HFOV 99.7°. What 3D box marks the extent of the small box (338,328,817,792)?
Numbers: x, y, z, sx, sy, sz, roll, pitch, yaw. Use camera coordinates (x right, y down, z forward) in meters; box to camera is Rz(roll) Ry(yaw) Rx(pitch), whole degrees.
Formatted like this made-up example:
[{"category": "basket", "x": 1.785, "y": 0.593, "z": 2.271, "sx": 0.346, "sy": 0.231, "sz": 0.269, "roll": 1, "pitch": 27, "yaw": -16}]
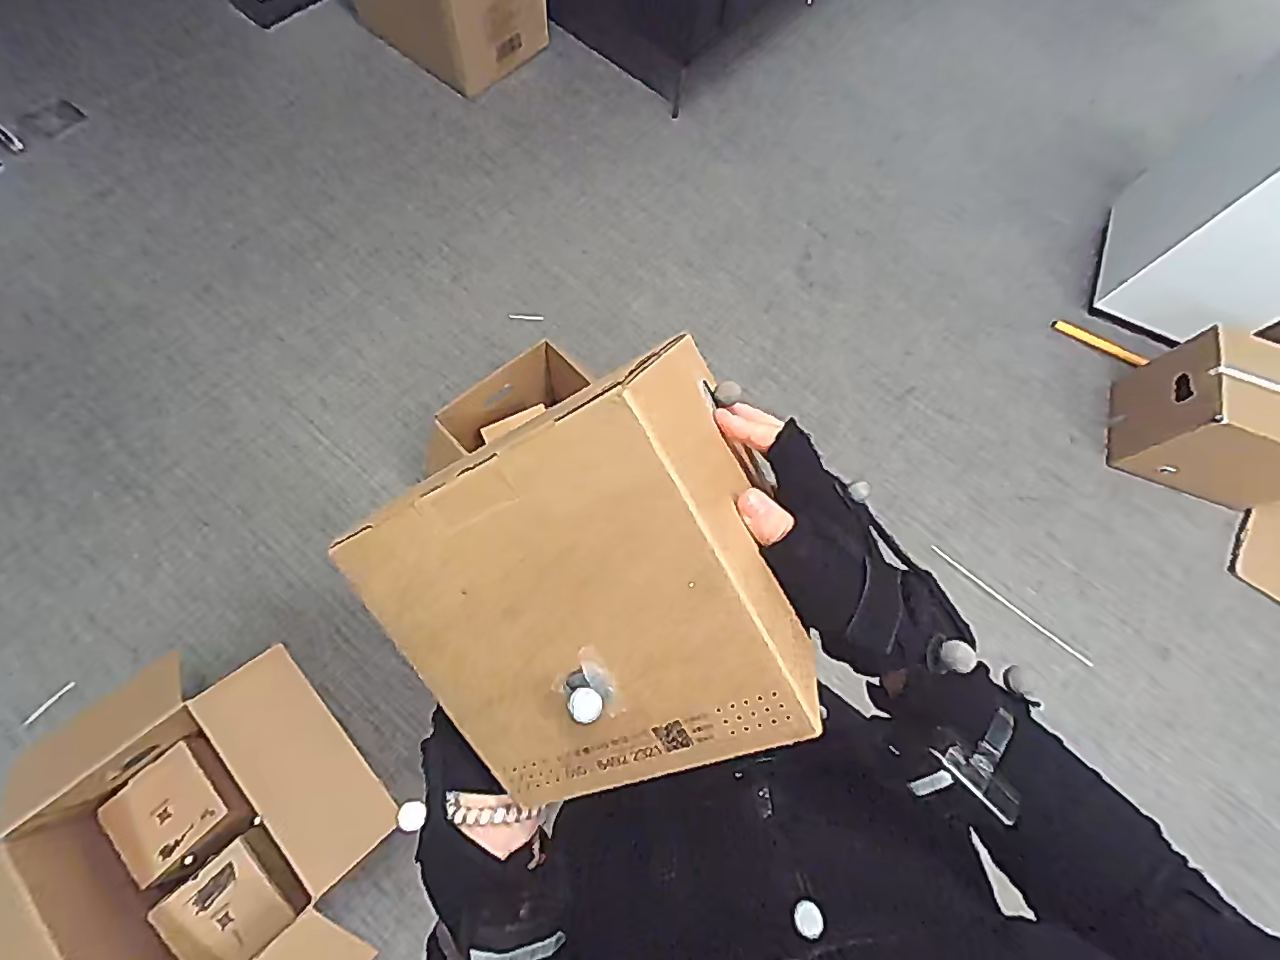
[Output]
[{"category": "small box", "x": -0.014, "y": 0.035, "z": 0.311, "sx": 0.168, "sy": 0.179, "sz": 0.176, "roll": -26, "pitch": 103, "yaw": 21}]
